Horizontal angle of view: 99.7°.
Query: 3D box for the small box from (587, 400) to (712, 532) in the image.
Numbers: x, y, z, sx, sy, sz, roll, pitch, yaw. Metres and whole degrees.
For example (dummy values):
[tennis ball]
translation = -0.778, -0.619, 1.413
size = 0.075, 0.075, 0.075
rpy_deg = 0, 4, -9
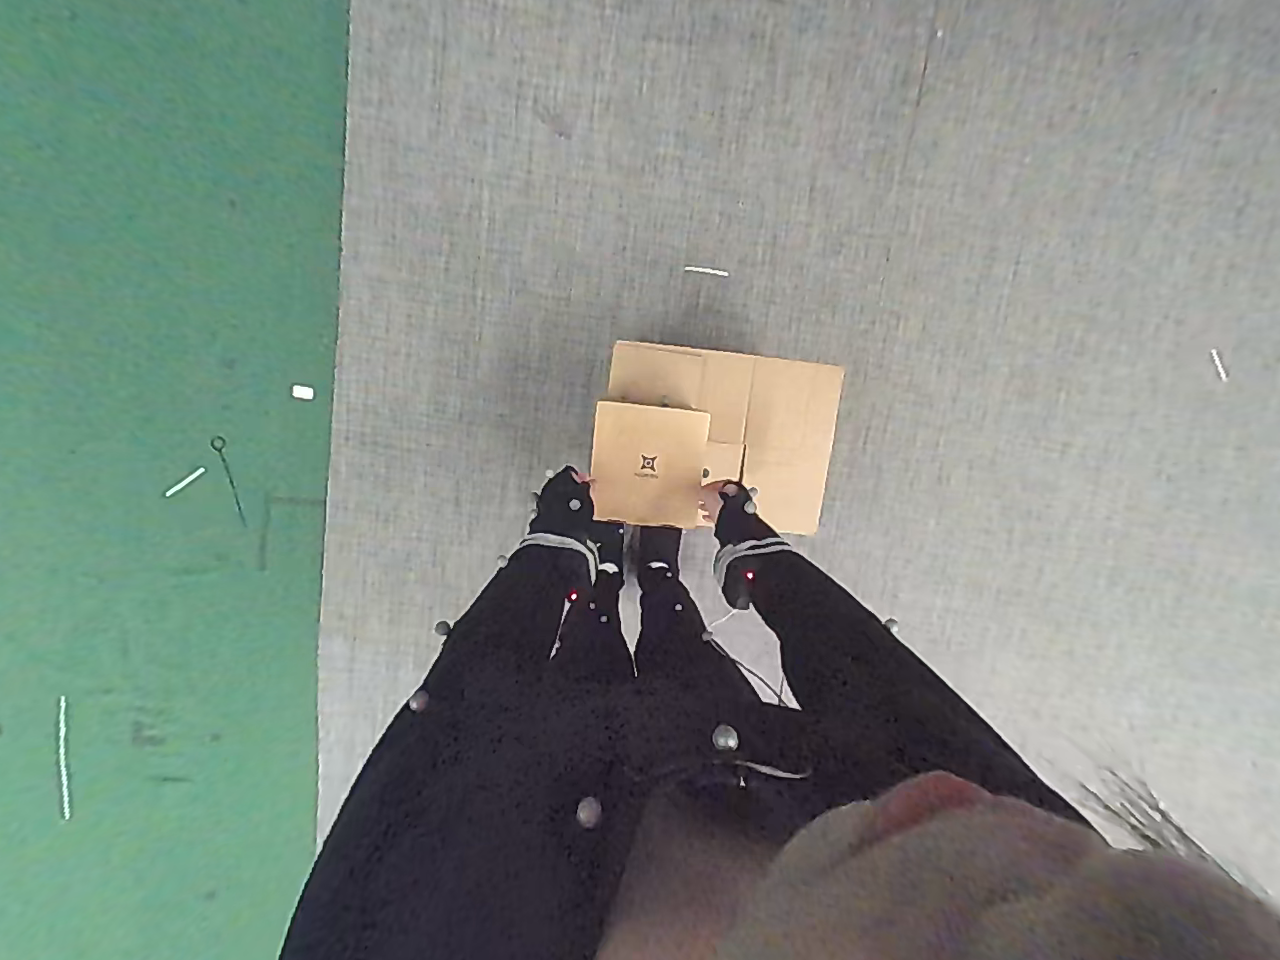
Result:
[small box]
translation = 0.007, -0.031, 0.856
size = 0.168, 0.176, 0.179
rpy_deg = 6, 101, -5
